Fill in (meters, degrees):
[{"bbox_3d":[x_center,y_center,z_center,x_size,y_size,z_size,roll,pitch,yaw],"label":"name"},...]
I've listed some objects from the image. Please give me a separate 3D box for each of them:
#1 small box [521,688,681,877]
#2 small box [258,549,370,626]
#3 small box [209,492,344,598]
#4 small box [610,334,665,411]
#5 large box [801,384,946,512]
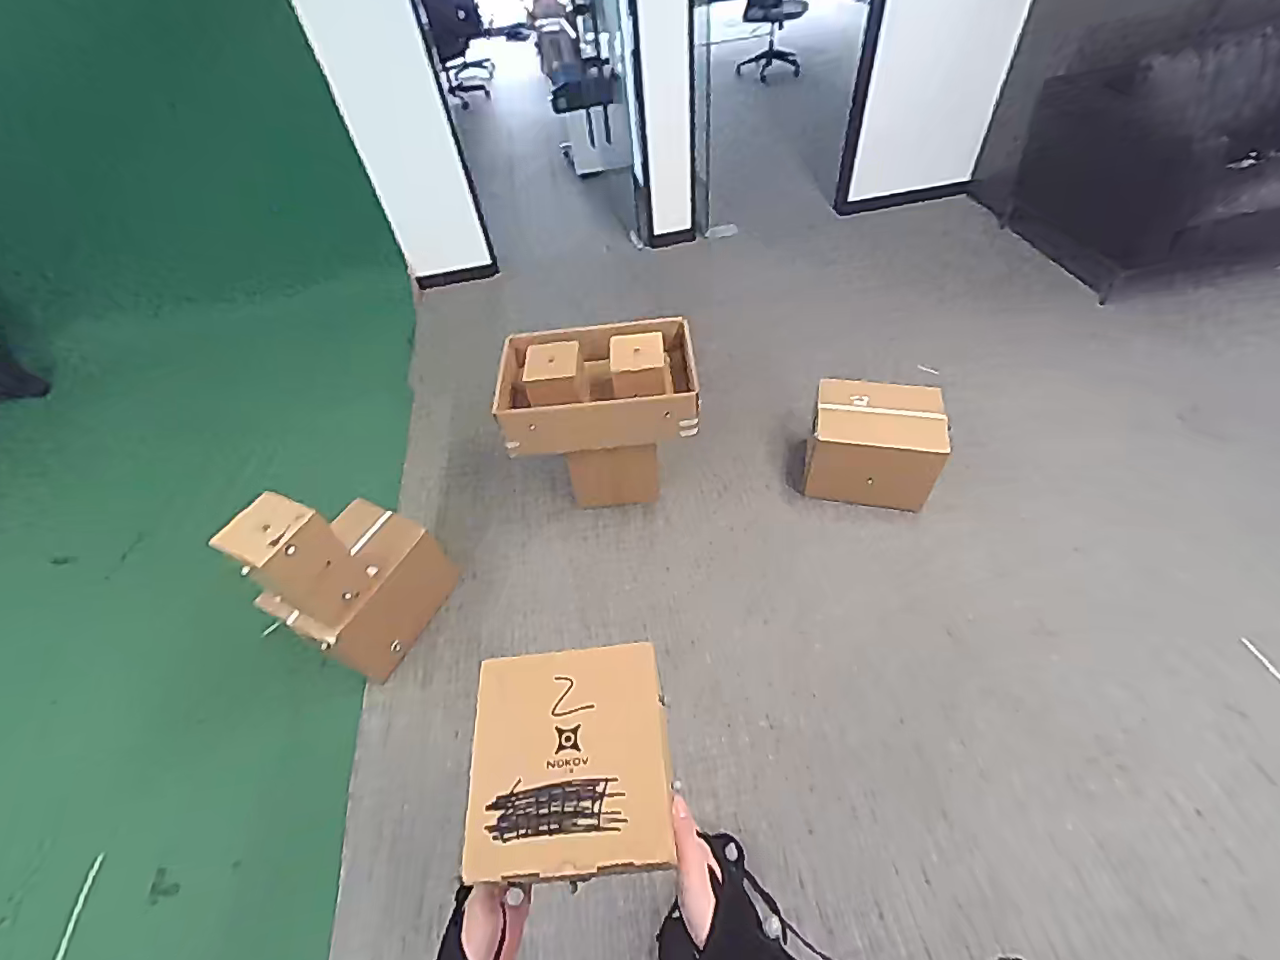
[{"bbox_3d":[-0.041,0.374,0.664,0.168,0.176,0.179,-6,52,0],"label":"small box"},{"bbox_3d":[-0.870,0.264,1.441,0.179,0.176,0.168,18,54,18],"label":"small box"},{"bbox_3d":[-0.872,0.162,1.313,0.179,0.176,0.168,17,53,18],"label":"small box"},{"bbox_3d":[-0.007,-0.342,1.729,0.168,0.176,0.179,-4,51,2],"label":"small box"},{"bbox_3d":[0.802,-0.112,1.912,0.408,0.320,0.320,7,50,13],"label":"large box"}]
